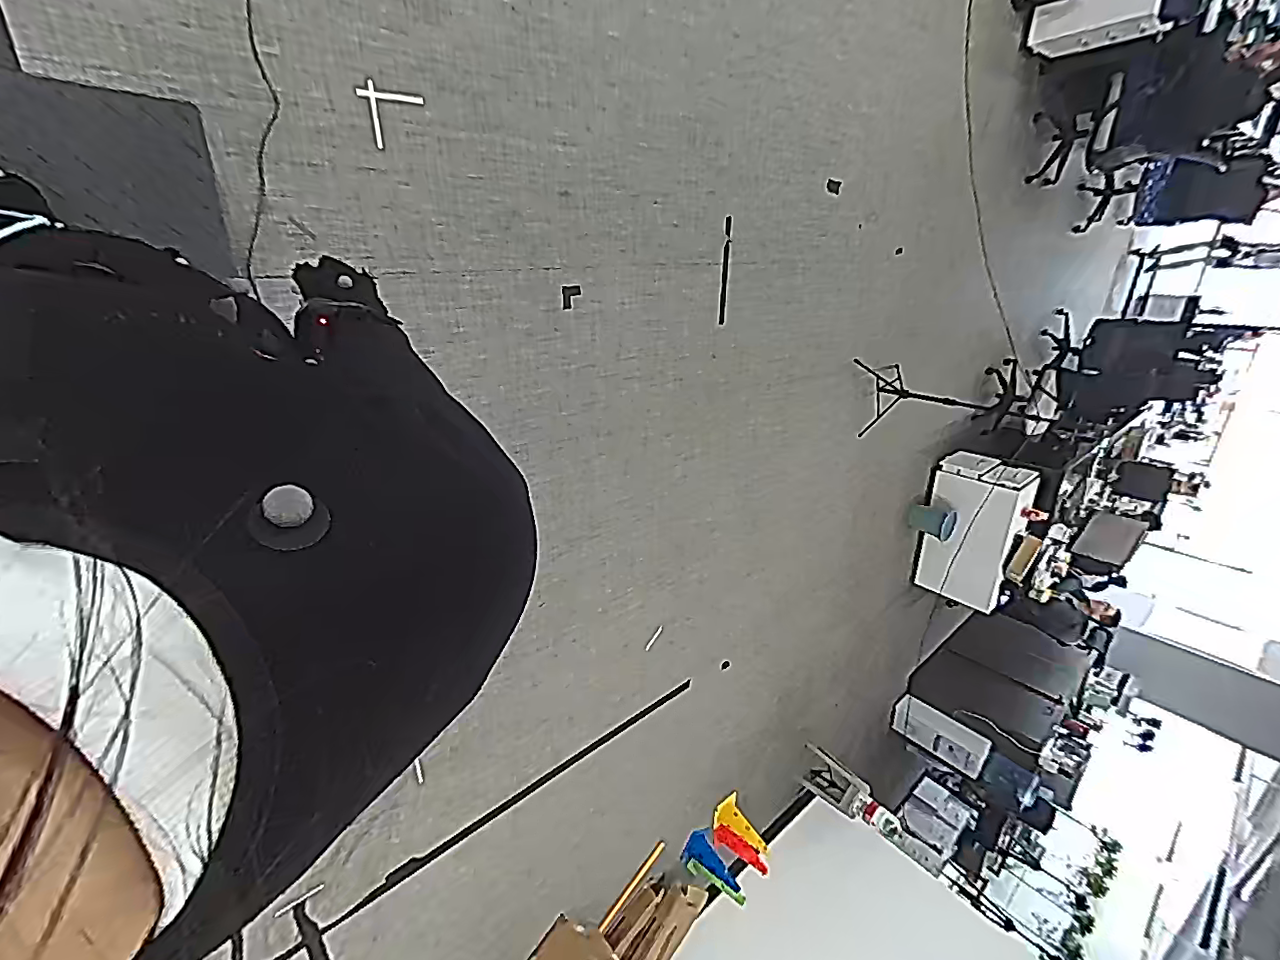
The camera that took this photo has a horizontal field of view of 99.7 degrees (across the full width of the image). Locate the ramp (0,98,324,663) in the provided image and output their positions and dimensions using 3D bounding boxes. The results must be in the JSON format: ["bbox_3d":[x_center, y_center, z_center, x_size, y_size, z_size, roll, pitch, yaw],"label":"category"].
[{"bbox_3d":[-1.016,-0.188,1.062,0.509,0.206,0.991,-18,116,-35],"label":"ramp"}]
